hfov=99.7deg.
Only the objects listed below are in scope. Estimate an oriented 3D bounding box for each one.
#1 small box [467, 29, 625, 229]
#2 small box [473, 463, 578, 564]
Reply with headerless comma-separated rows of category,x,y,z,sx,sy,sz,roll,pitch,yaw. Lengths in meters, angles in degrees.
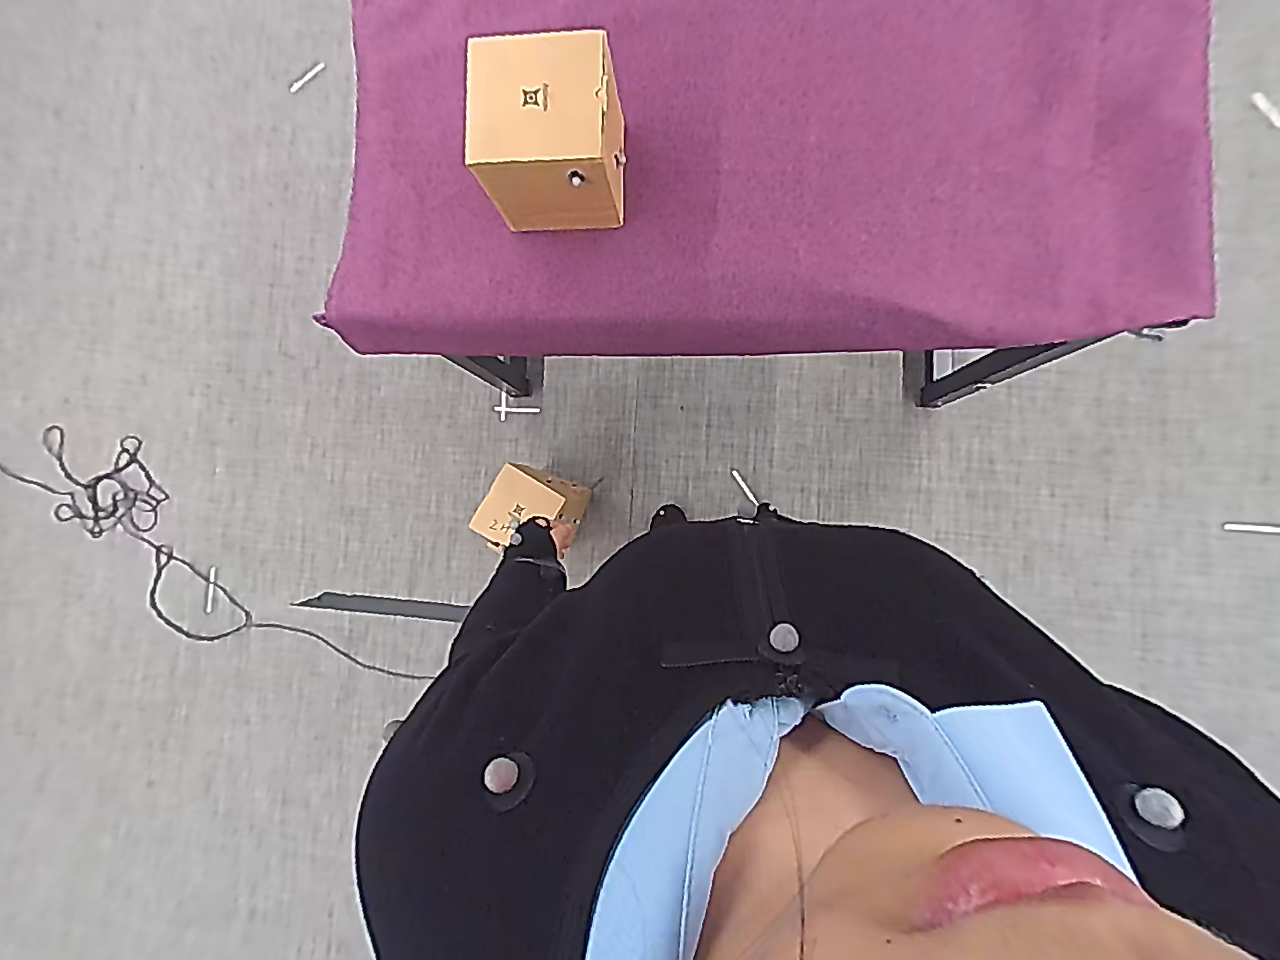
small box,-0.119,-0.466,0.744,0.179,0.176,0.168,0,87,5
small box,-0.264,0.078,1.300,0.168,0.176,0.179,31,92,6
